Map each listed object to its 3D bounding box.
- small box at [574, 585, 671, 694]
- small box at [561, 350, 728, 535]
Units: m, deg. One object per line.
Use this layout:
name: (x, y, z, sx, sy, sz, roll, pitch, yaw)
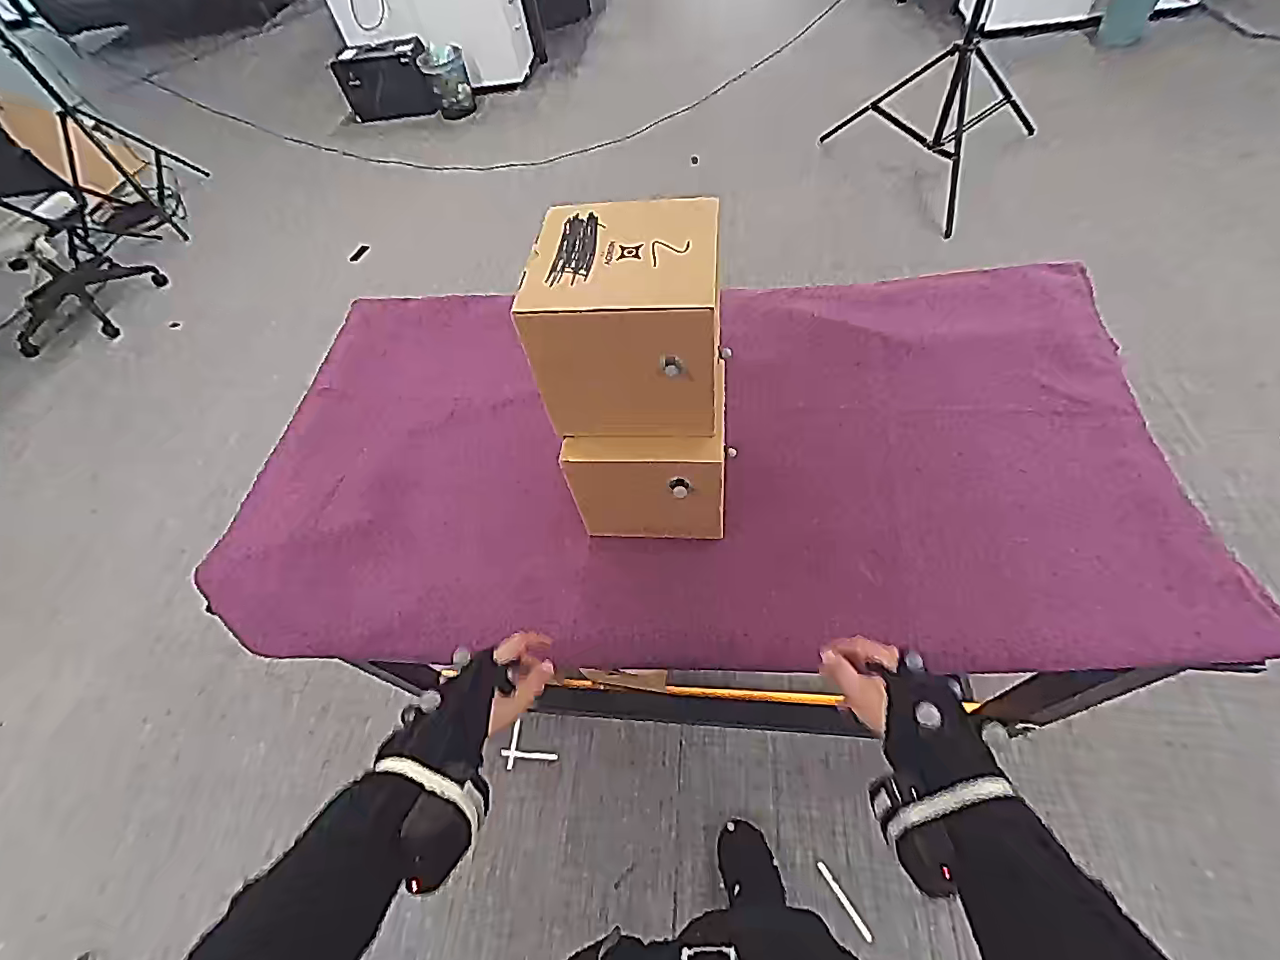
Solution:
small box: (-0.028, 0.350, 1.169, 0.168, 0.176, 0.179, 6, 57, 11)
small box: (0.018, -0.042, 0.673, 0.179, 0.176, 0.168, 1, 55, 9)
